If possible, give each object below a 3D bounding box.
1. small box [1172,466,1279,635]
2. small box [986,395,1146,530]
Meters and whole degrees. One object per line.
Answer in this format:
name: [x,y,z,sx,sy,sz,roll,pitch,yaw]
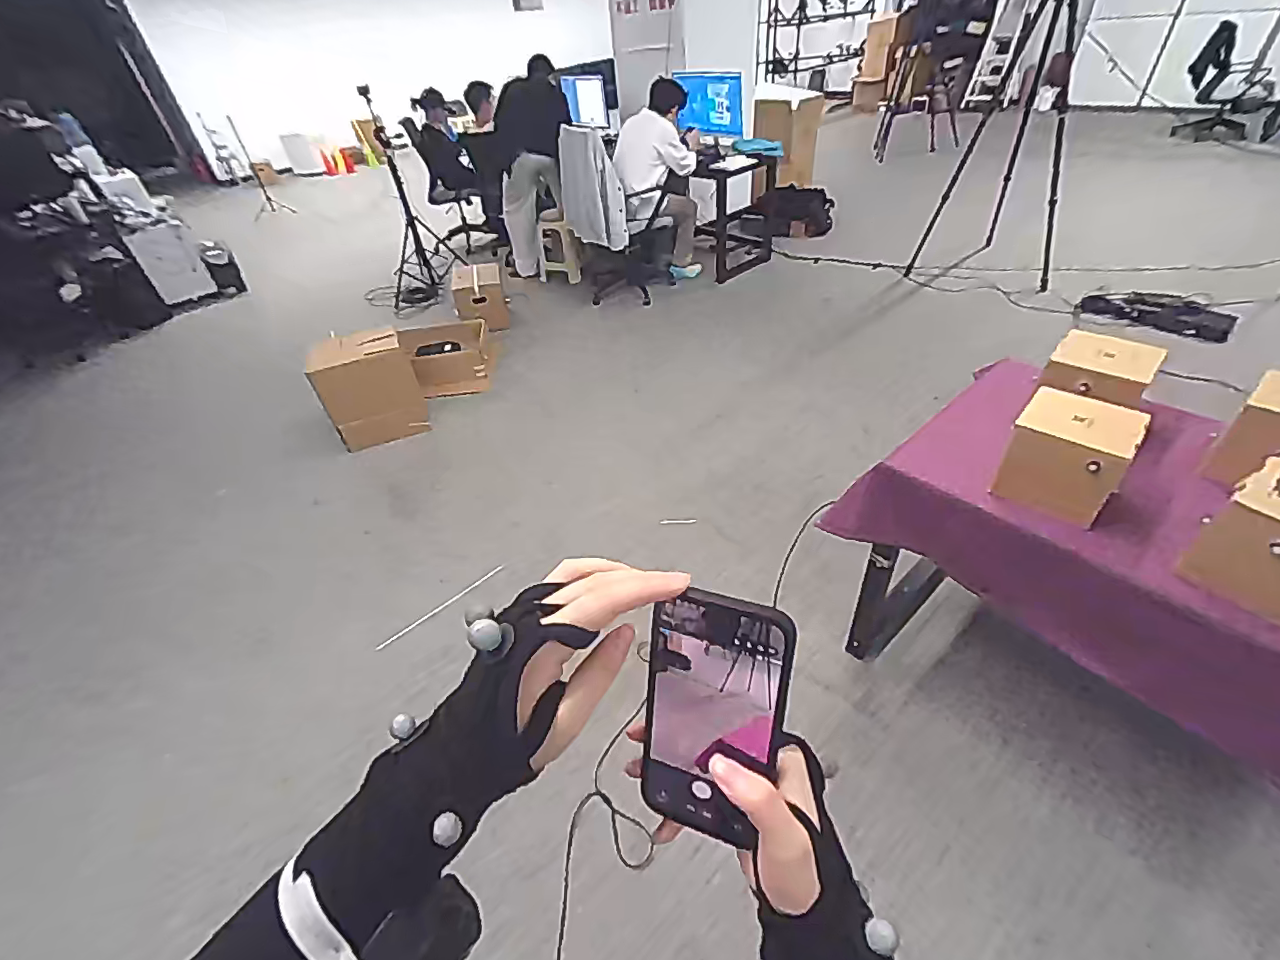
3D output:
small box: [0.993,0.113,0.833,0.168,0.176,0.179,-27,45,-23]
small box: [0.801,-0.034,1.033,0.179,0.176,0.168,30,51,34]
